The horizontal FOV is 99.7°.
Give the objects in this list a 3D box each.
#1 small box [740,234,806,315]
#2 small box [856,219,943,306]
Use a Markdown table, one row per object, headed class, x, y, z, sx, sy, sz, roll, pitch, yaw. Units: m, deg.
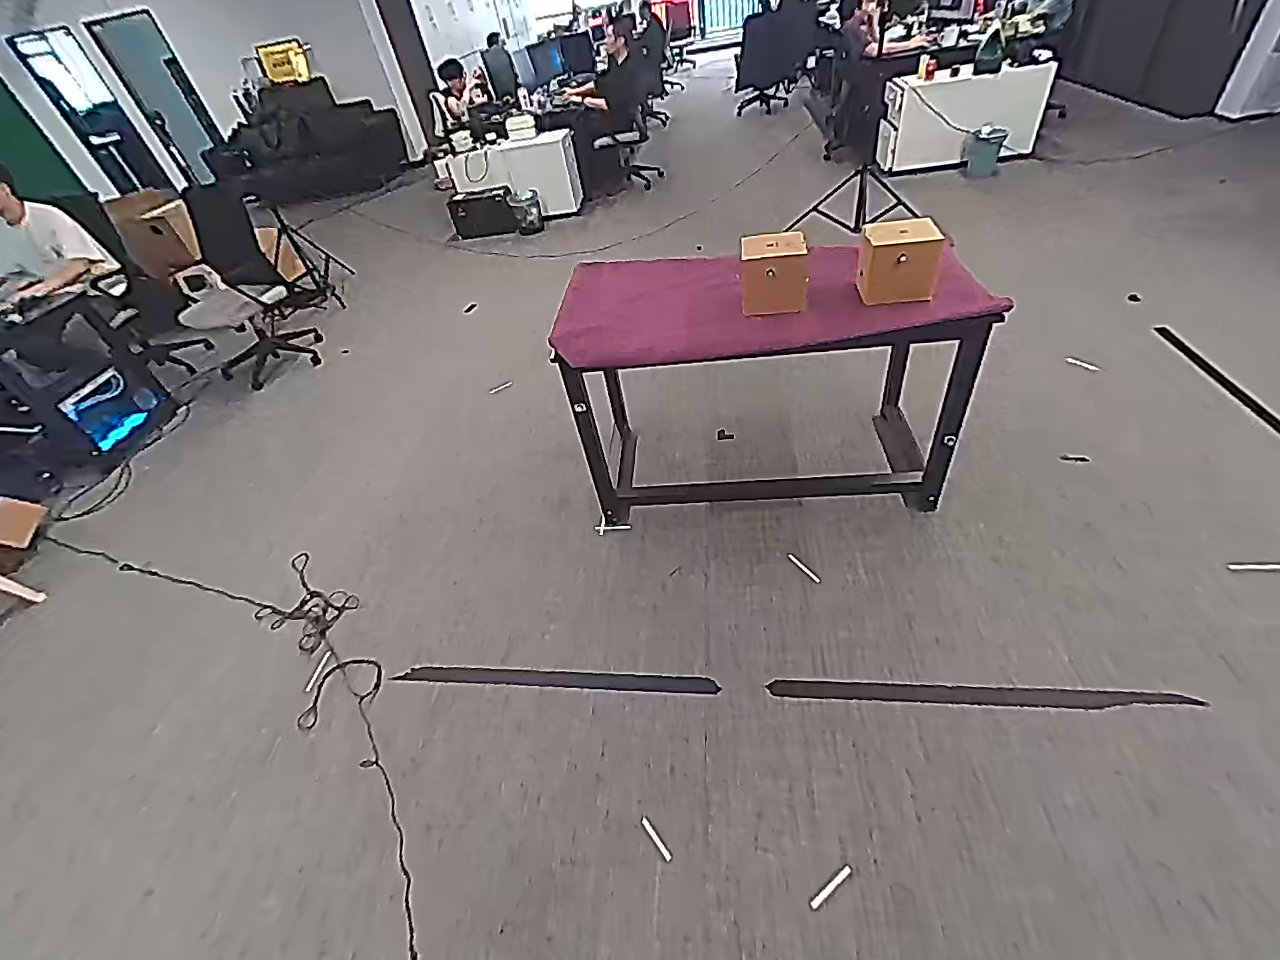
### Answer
| class | x | y | z | sx | sy | sz | roll | pitch | yaw |
| --- | --- | --- | --- | --- | --- | --- | --- | --- | --- |
| small box | 0.381 | -0.589 | 1.561 | 0.179 | 0.176 | 0.168 | -1 | 44 | 11 |
| small box | 0.711 | -0.602 | 1.502 | 0.179 | 0.176 | 0.168 | -2 | 42 | 12 |
